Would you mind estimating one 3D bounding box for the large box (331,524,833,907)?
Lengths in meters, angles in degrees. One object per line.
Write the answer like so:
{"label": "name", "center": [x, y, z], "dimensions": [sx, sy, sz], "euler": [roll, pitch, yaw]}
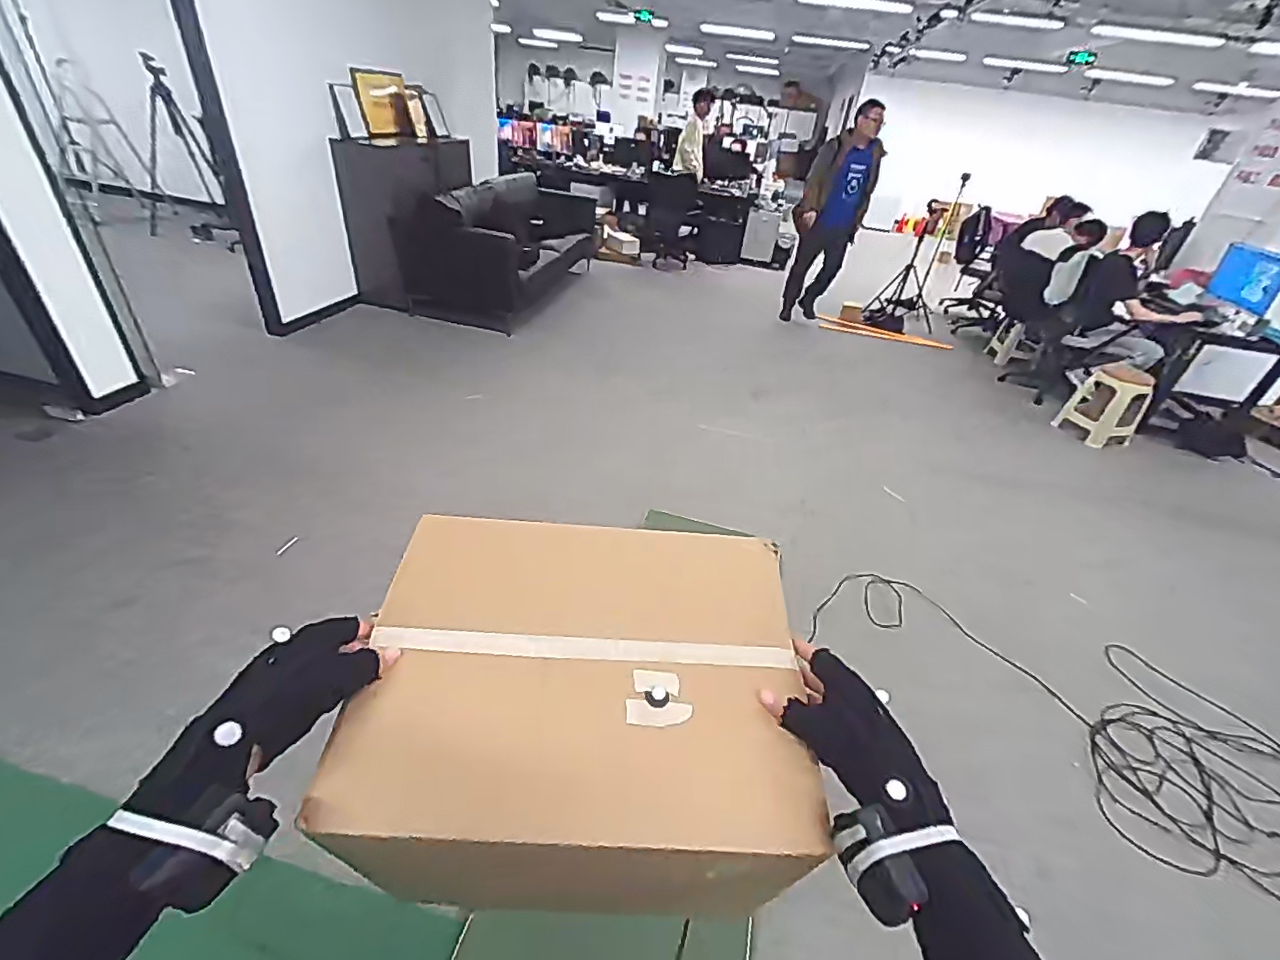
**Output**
{"label": "large box", "center": [-0.054, 0.276, 0.629], "dimensions": [0.408, 0.320, 0.320], "euler": [5, 44, -3]}
